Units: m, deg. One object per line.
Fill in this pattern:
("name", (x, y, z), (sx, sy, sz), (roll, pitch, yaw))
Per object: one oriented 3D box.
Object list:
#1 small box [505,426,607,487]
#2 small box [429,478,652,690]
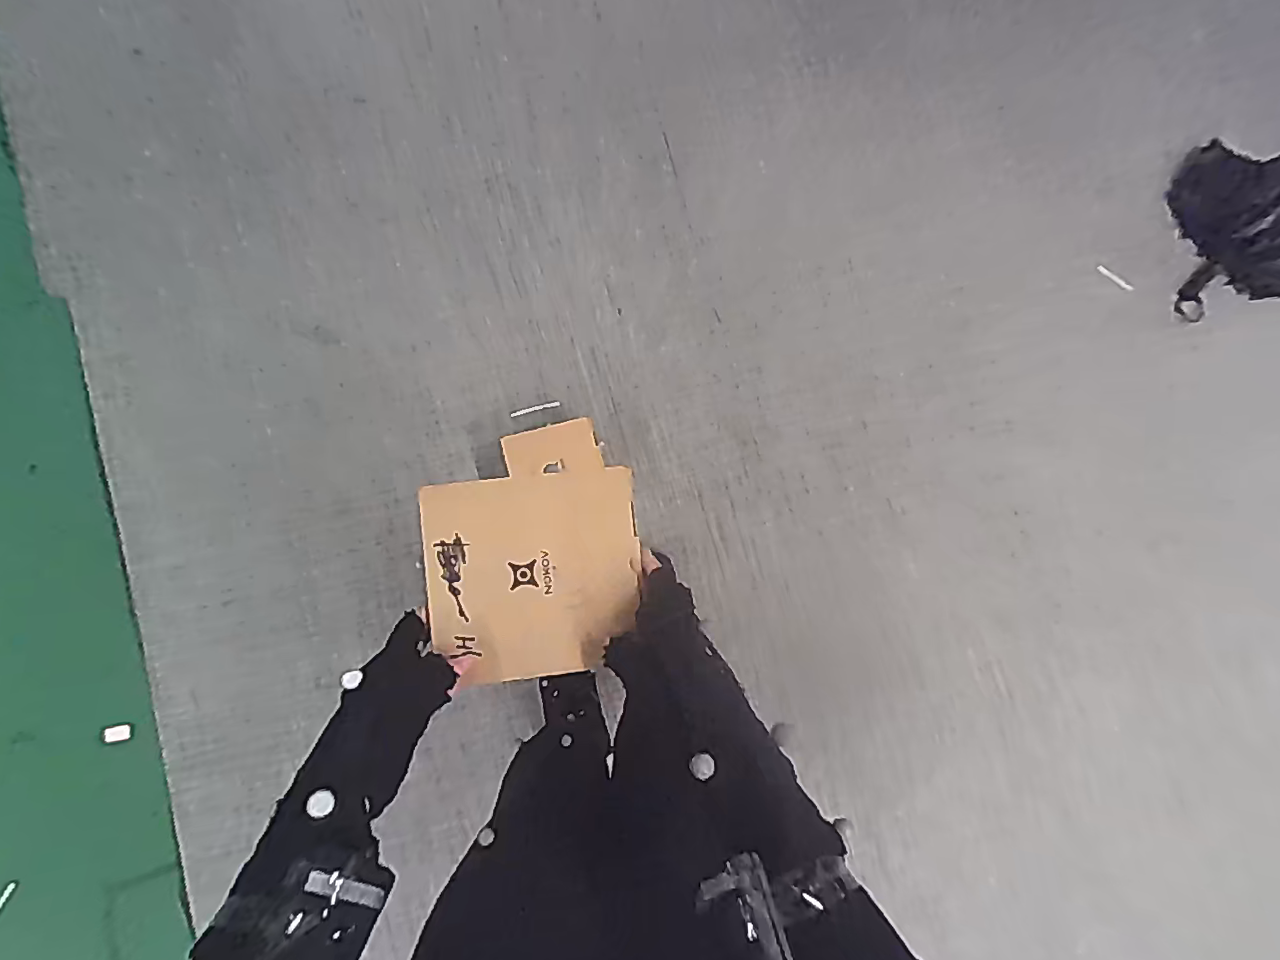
("small box", (-0.156, 0.003, 1.097), (0.179, 0.176, 0.168), (-15, 84, -3))
("small box", (-0.091, 0.089, 0.535), (0.179, 0.176, 0.168), (-6, 87, -5))
